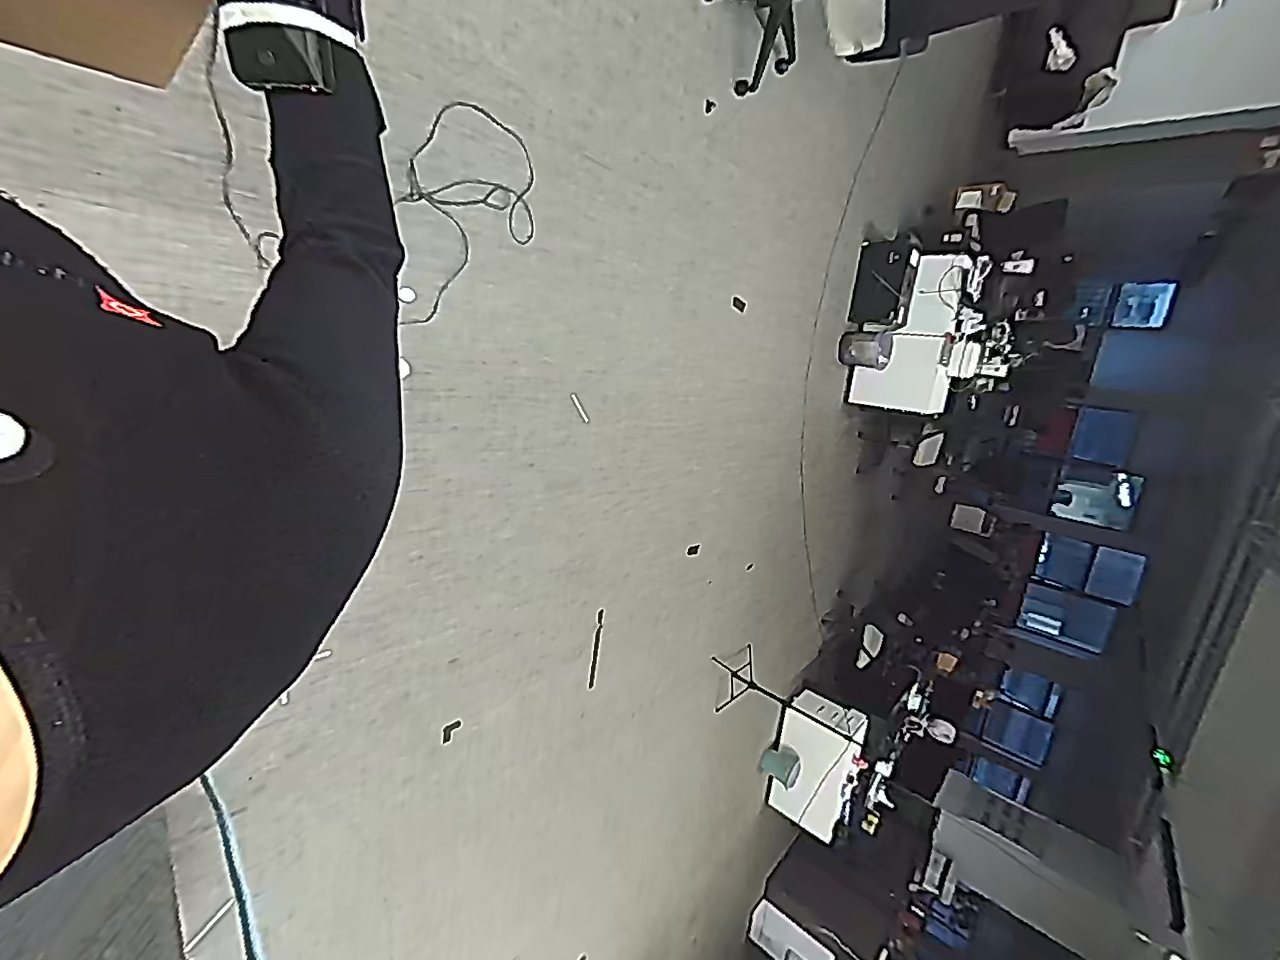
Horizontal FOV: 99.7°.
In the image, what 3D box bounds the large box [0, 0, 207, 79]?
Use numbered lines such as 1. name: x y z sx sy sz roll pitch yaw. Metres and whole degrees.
1. large box: -0.468 -0.468 0.238 0.408 0.320 0.320 -13 108 -48
